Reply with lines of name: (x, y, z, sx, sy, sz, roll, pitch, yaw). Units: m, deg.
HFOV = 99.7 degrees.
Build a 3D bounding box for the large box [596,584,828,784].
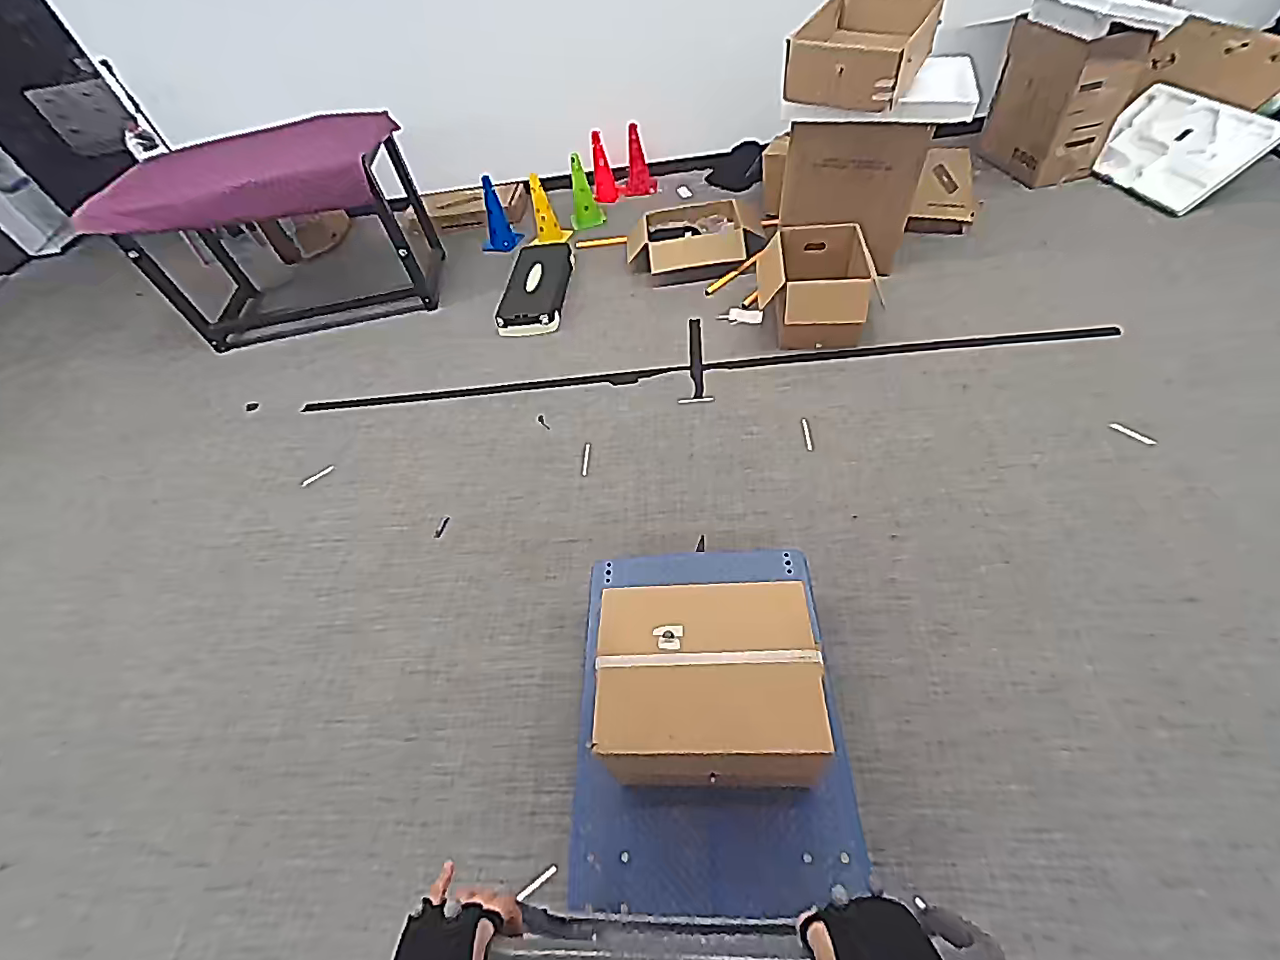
large box: (0.143, 0.436, 1.130, 0.408, 0.320, 0.320, -5, 50, 7)
